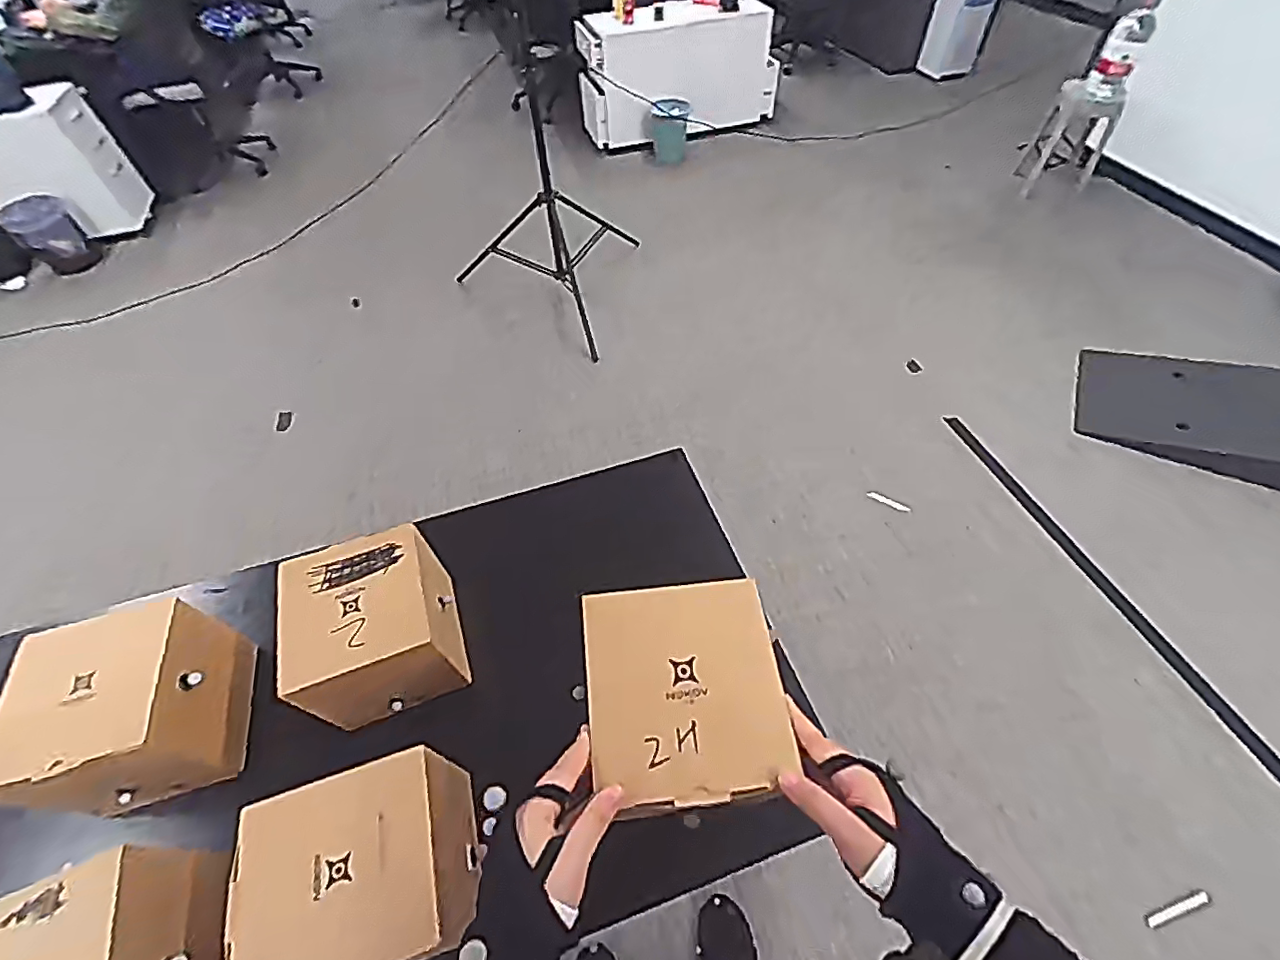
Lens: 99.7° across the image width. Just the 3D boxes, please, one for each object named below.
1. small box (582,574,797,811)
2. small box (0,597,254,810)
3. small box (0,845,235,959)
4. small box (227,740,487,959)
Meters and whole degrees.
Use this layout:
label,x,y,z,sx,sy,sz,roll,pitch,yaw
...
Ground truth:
label,x,y,z,sx,sy,sz,roll,pitch,yaw
small box,0.033,0.211,0.529,0.168,0.176,0.179,-5,57,-4
small box,-0.610,0.274,0.660,0.168,0.176,0.179,-15,54,-9
small box,-0.515,0.474,0.503,0.168,0.176,0.179,-21,55,-13
small box,-0.274,0.396,0.553,0.179,0.176,0.168,-17,55,-11
